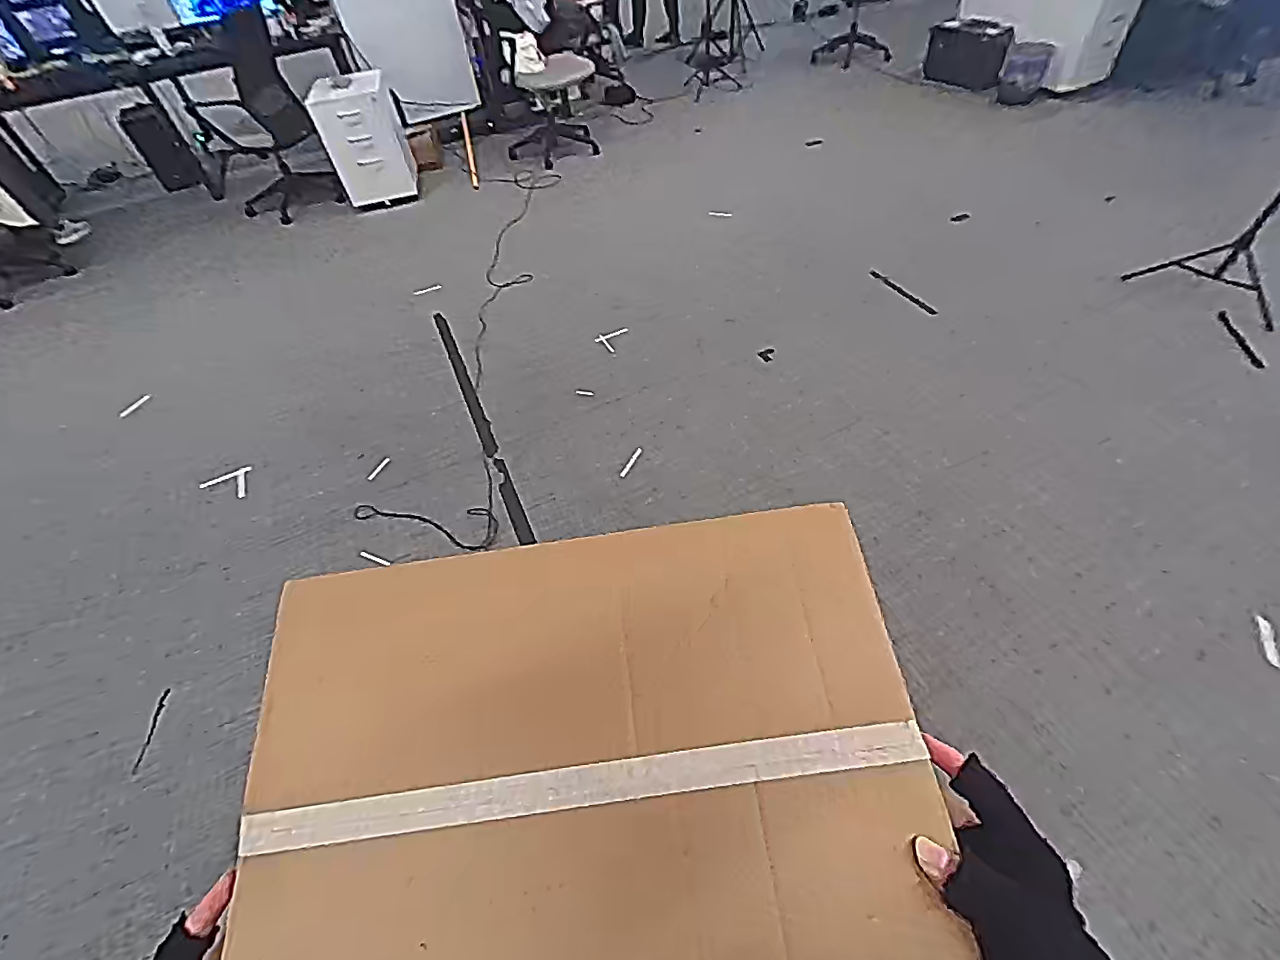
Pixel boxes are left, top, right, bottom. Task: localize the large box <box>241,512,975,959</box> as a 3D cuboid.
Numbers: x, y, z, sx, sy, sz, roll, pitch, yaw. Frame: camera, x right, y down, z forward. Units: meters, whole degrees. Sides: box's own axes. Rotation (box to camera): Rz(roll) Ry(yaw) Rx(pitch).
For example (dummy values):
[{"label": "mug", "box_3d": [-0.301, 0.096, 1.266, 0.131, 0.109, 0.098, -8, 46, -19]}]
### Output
[{"label": "large box", "box_3d": [-0.025, 0.256, 0.461, 0.408, 0.320, 0.320, -9, 64, 1]}]
